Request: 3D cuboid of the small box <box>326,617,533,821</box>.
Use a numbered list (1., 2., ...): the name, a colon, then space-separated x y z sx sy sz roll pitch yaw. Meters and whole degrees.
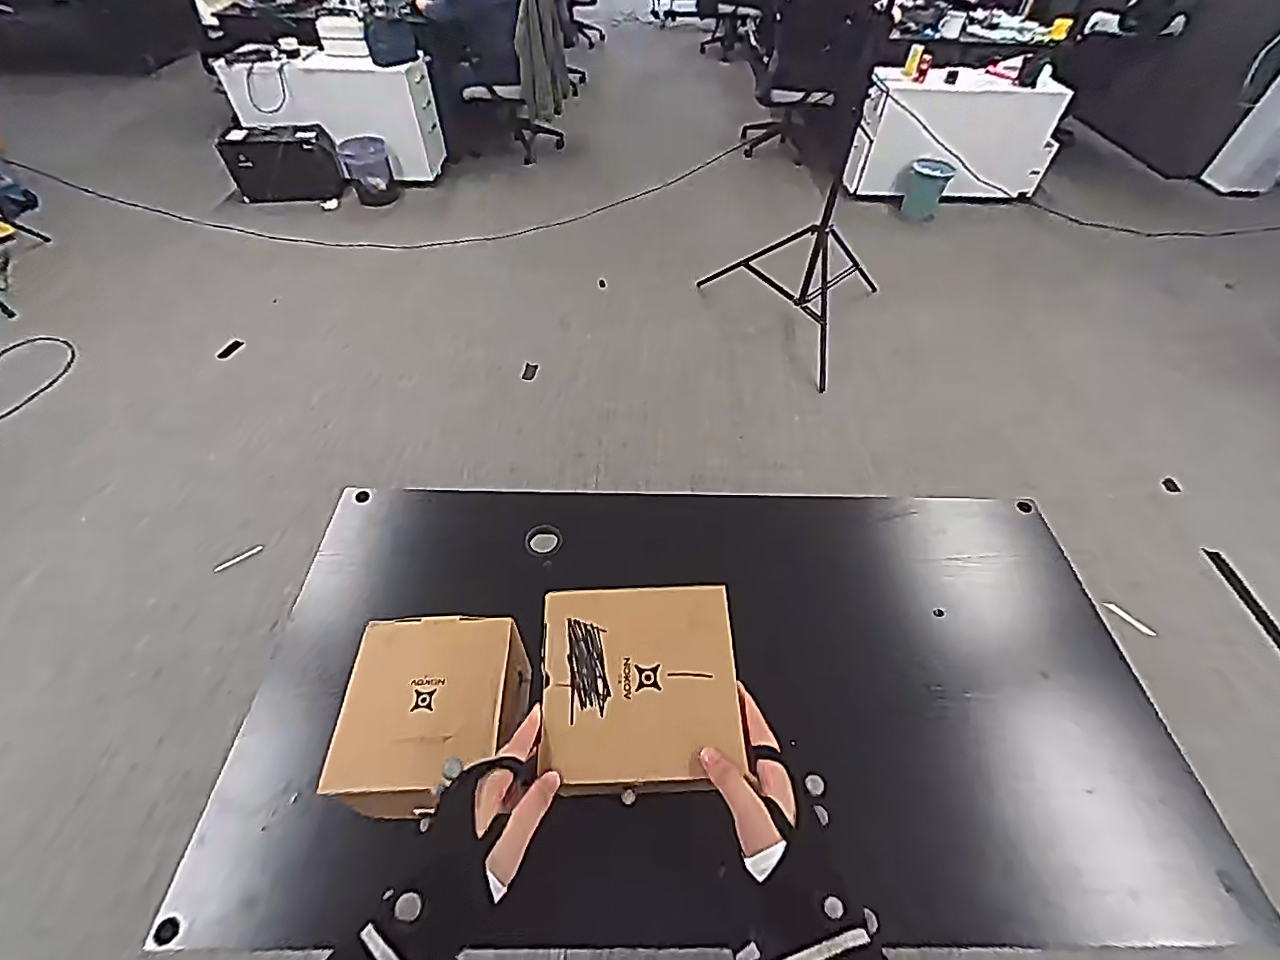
1. small box: -0.221 0.278 0.627 0.168 0.176 0.179 -2 51 -2
